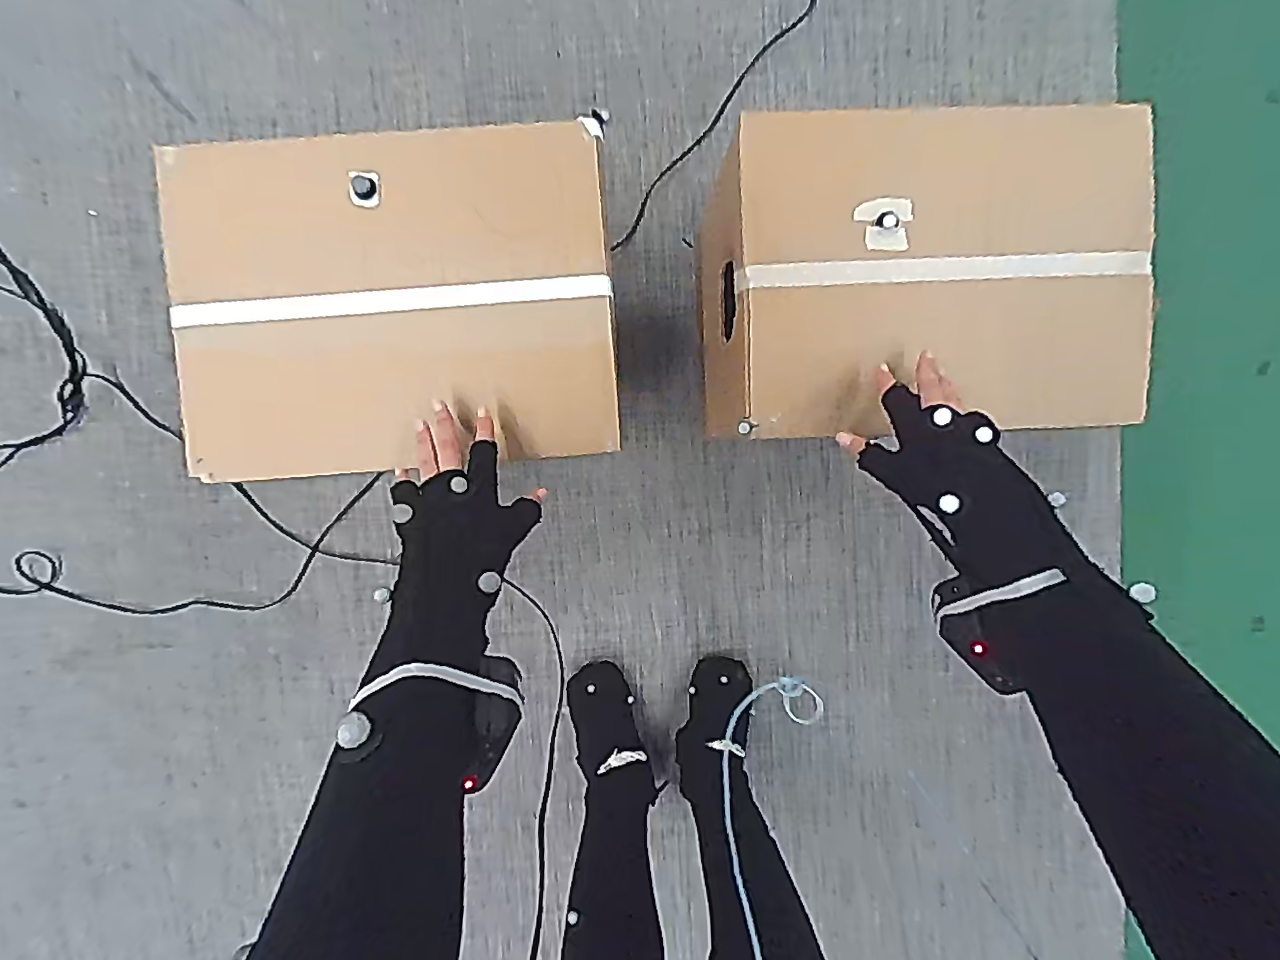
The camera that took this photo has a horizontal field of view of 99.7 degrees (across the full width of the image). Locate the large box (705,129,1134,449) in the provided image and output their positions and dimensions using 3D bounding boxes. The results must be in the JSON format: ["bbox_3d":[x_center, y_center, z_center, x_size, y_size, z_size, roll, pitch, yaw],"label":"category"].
[{"bbox_3d":[0.306,-0.206,0.704,0.408,0.320,0.320,-2,93,-1],"label":"large box"}]
